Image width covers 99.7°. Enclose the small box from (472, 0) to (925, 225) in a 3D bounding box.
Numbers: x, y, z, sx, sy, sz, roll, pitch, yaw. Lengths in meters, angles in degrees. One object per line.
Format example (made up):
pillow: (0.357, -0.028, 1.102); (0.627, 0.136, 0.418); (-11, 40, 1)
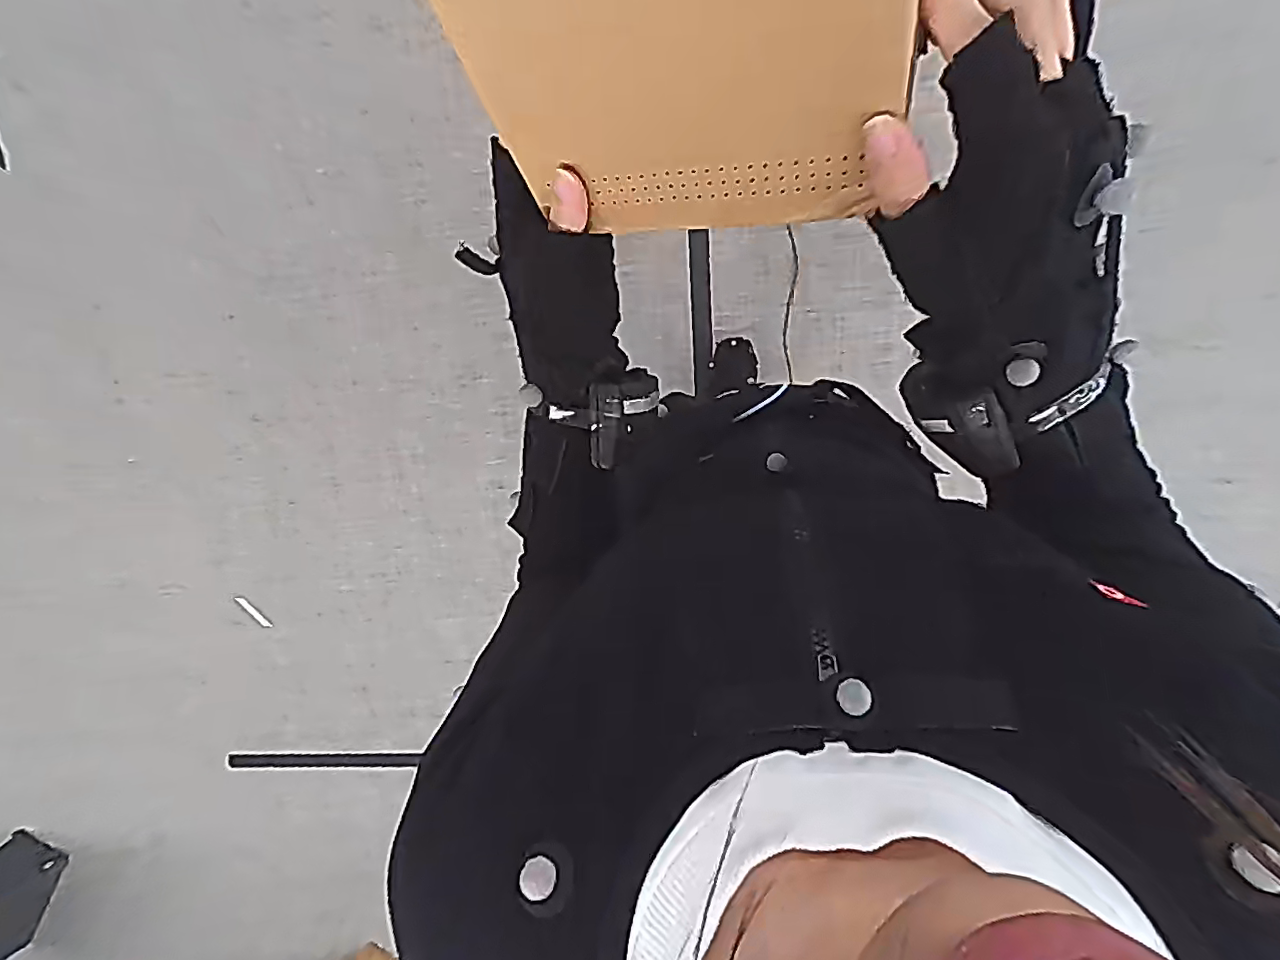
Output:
small box: (0.032, -0.239, 0.241); (0.179, 0.176, 0.168); (7, 68, 23)
